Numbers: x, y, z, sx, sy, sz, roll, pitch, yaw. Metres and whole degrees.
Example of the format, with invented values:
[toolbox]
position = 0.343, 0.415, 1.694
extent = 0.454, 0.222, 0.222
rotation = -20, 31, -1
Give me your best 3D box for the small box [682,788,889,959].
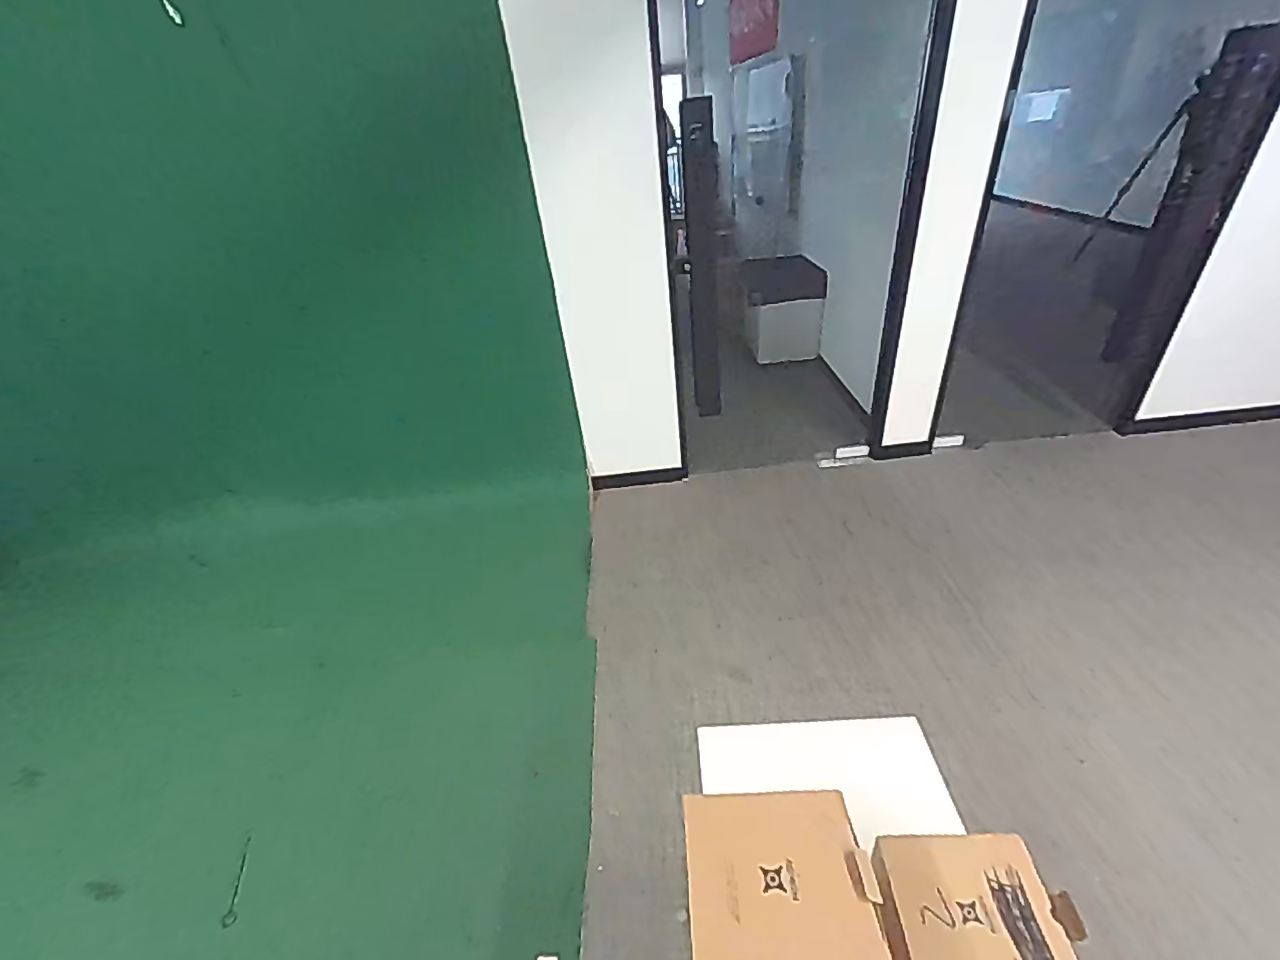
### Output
[small box]
position = 0.138, 0.453, 0.571
extent = 0.179, 0.176, 0.168
rotation = -5, 33, 3
